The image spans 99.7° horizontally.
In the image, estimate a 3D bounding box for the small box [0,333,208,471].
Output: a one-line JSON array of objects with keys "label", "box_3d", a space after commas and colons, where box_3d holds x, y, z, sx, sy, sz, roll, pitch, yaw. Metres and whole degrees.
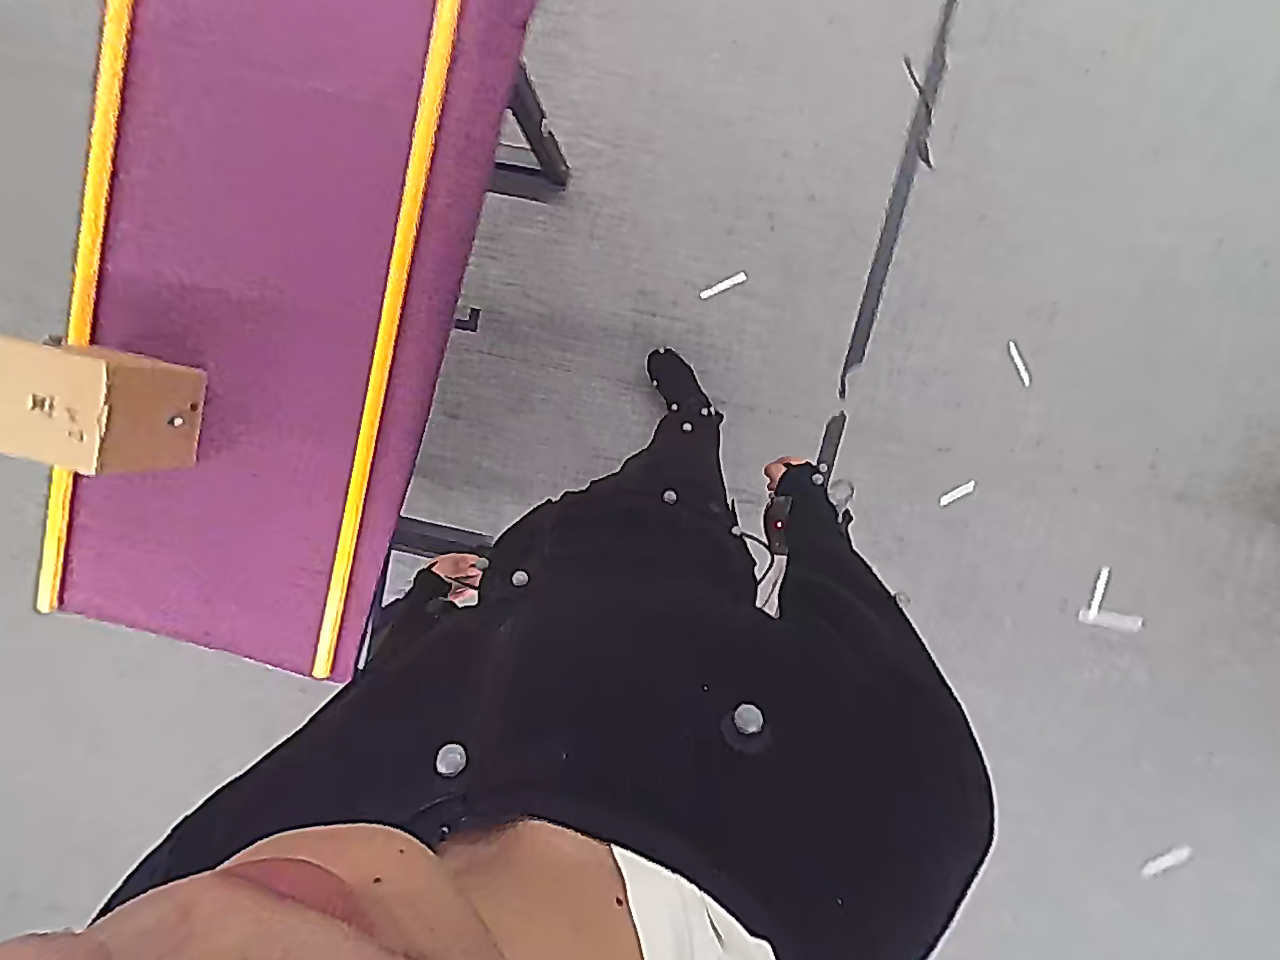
[{"label": "small box", "box_3d": [-0.839, -0.118, 0.848, 0.179, 0.176, 0.168, 14, 97, 1]}]
